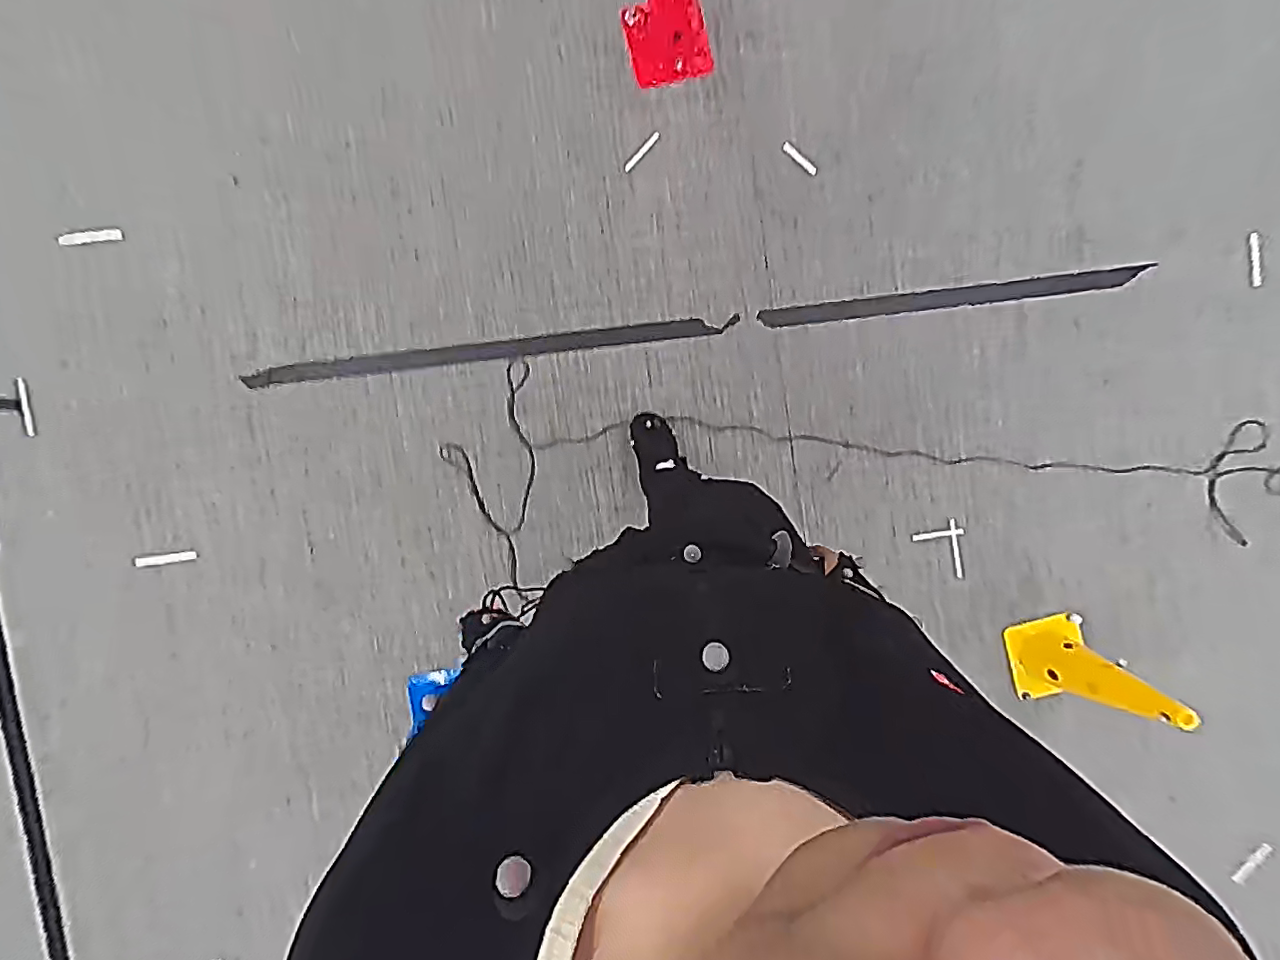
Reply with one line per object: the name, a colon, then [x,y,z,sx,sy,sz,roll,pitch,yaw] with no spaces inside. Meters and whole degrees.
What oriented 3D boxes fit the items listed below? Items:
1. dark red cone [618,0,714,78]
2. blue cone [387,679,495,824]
dark red cone: [0.068,-1.070,1.132,0.202,0.394,0.201,-16,93,-1]
blue cone: [-0.465,0.606,1.194,0.193,0.380,0.192,-7,93,-1]
